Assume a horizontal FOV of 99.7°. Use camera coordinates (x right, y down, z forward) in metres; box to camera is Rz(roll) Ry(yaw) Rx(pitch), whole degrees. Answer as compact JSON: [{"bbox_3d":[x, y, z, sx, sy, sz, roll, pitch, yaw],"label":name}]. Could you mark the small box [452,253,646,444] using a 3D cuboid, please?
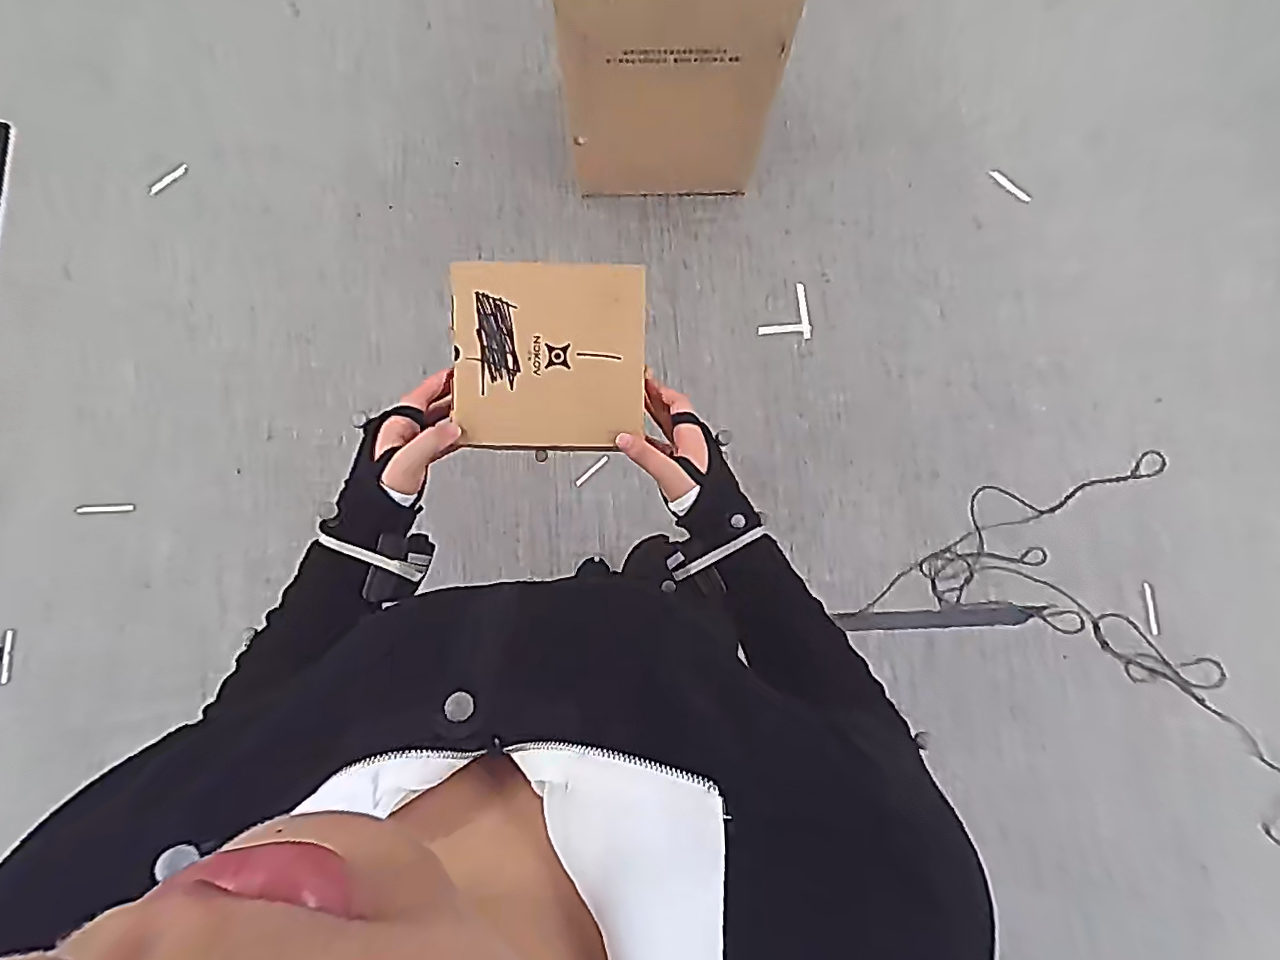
[{"bbox_3d":[-0.084,-0.124,0.570,0.179,0.176,0.168,0,91,-2],"label":"small box"}]
